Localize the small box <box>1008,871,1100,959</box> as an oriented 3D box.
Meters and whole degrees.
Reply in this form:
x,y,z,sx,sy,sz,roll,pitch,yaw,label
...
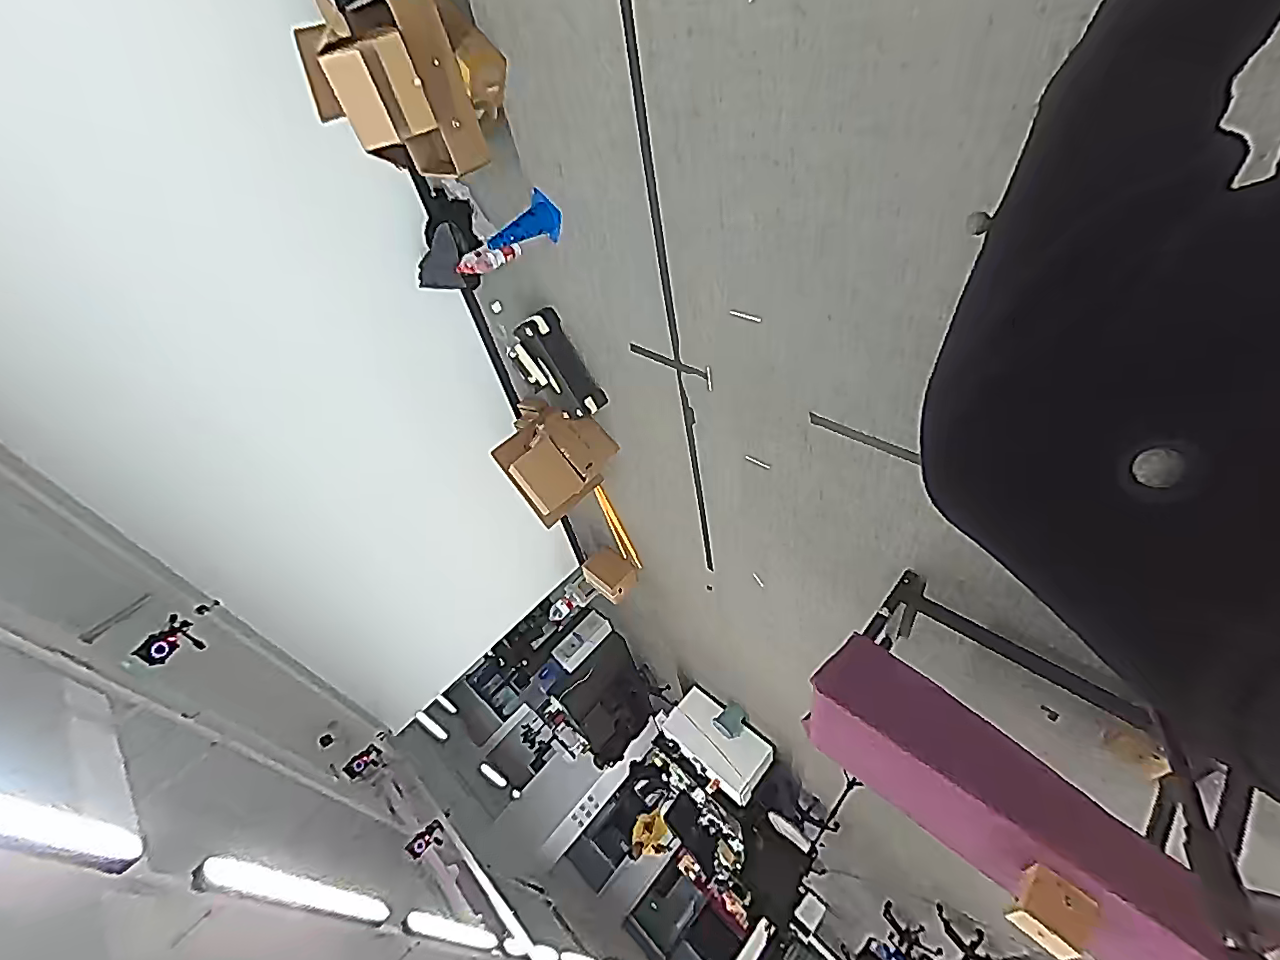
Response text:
x,y,z,sx,sy,sz,roll,pitch,yaw,label
1.315,1.394,1.718,0.168,0.176,0.179,30,148,35,small box
